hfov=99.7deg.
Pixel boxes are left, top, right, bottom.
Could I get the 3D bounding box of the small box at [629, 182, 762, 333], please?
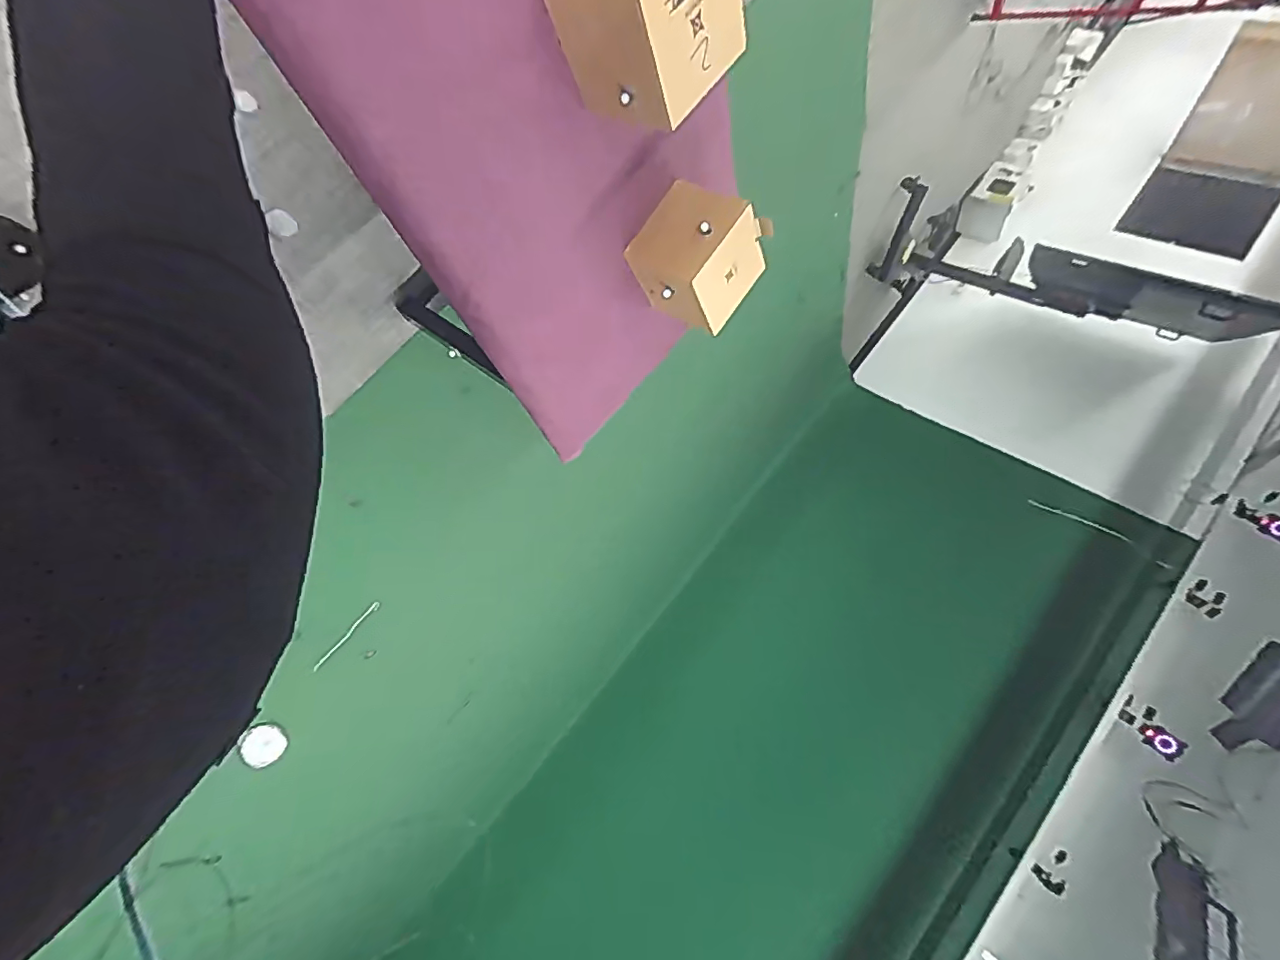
[{"bbox_3d":[0.100,-0.416,1.012,0.179,0.176,0.168,-55,151,-3],"label":"small box"}]
